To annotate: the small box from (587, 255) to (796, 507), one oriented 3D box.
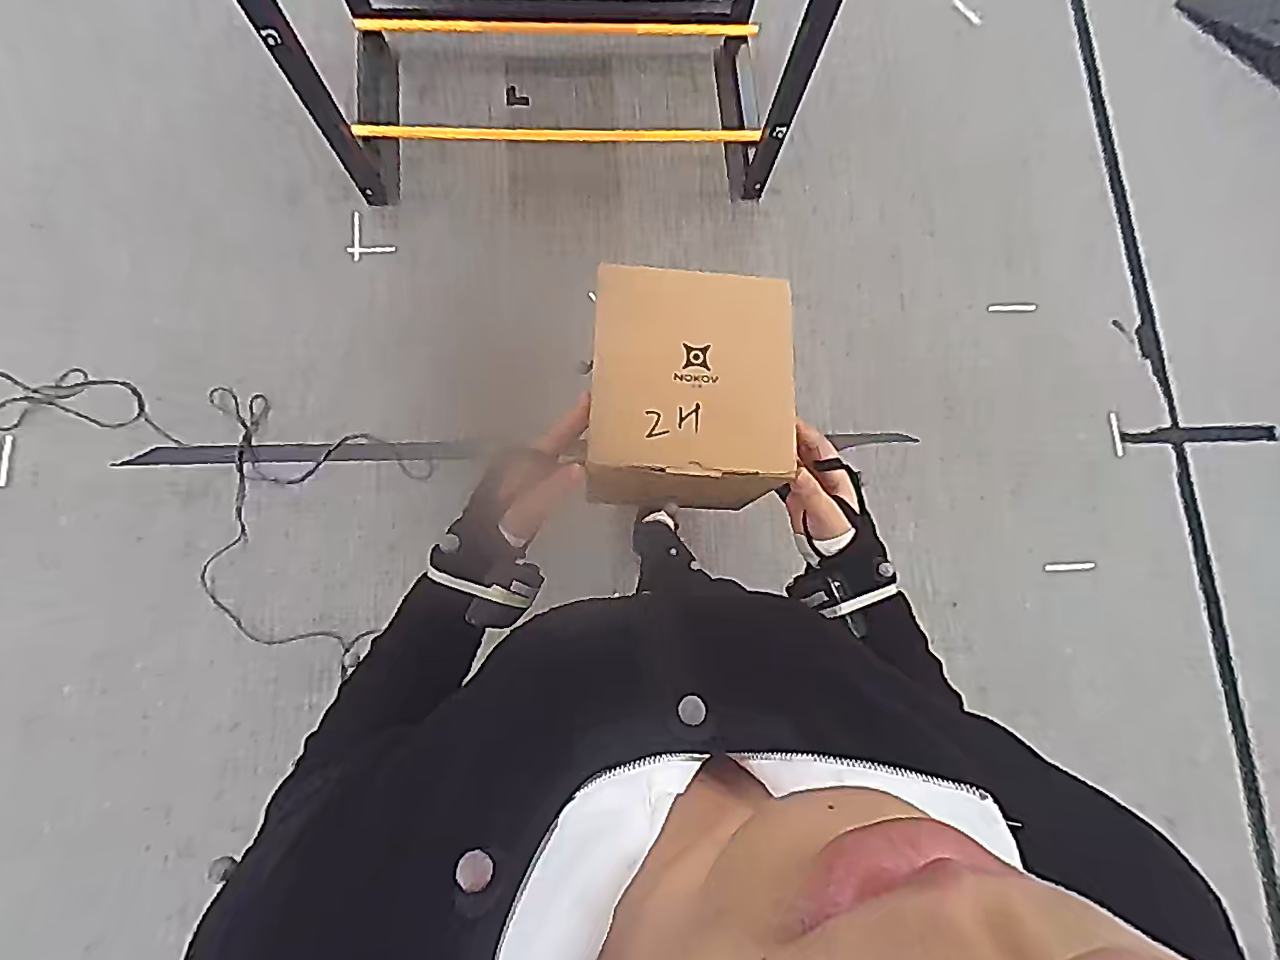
[{"bbox_3d":[0.037,-0.080,0.513,0.168,0.176,0.179,3,76,-4],"label":"small box"}]
